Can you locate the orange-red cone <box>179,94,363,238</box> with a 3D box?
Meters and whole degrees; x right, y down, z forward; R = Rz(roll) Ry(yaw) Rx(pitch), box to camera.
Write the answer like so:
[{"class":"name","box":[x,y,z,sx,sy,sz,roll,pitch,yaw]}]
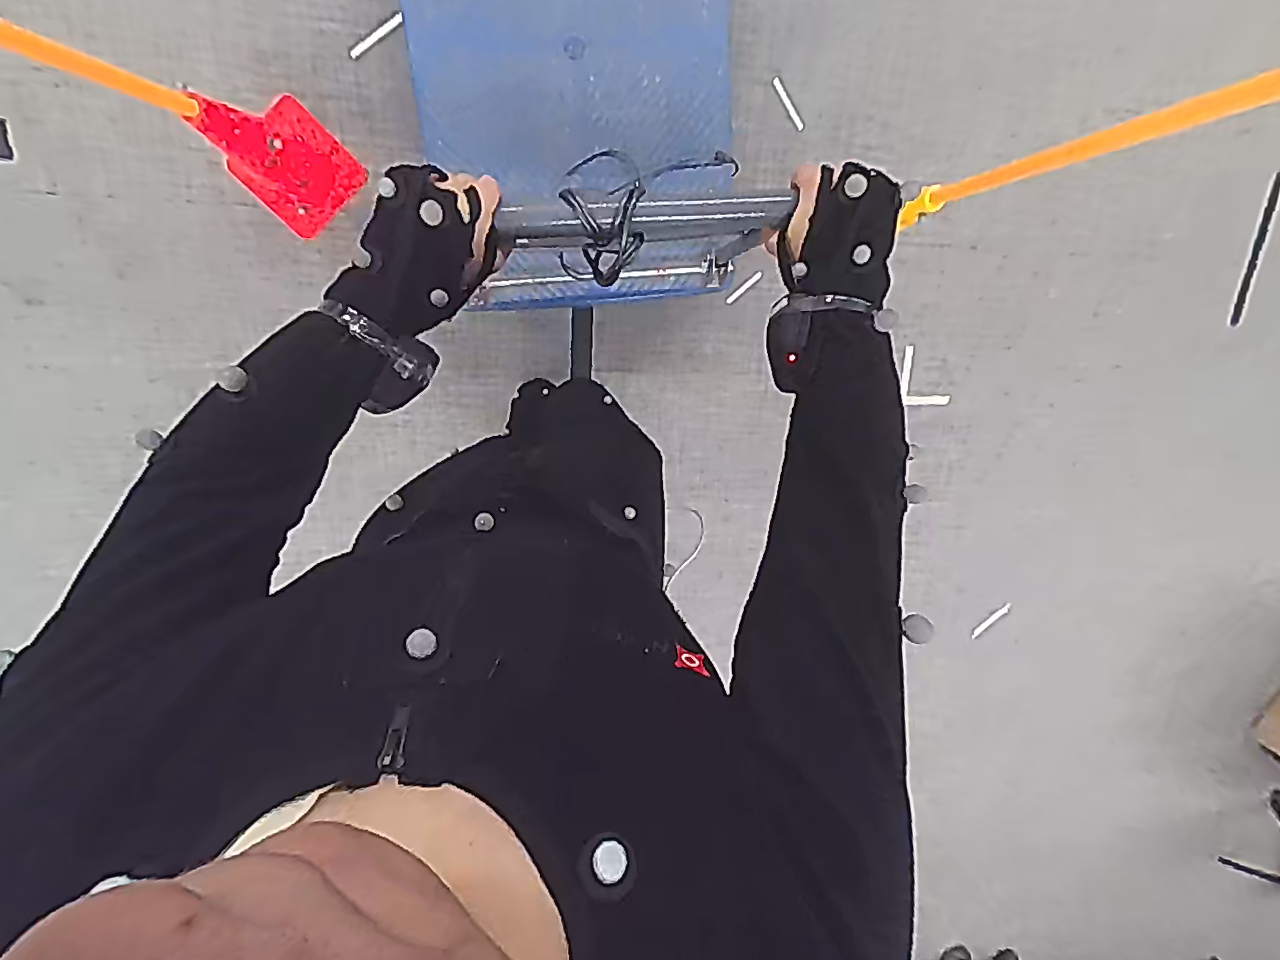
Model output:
[{"class":"orange-red cone","box":[-0.665,-0.579,0.931,0.199,0.360,0.198,-43,109,3]}]
